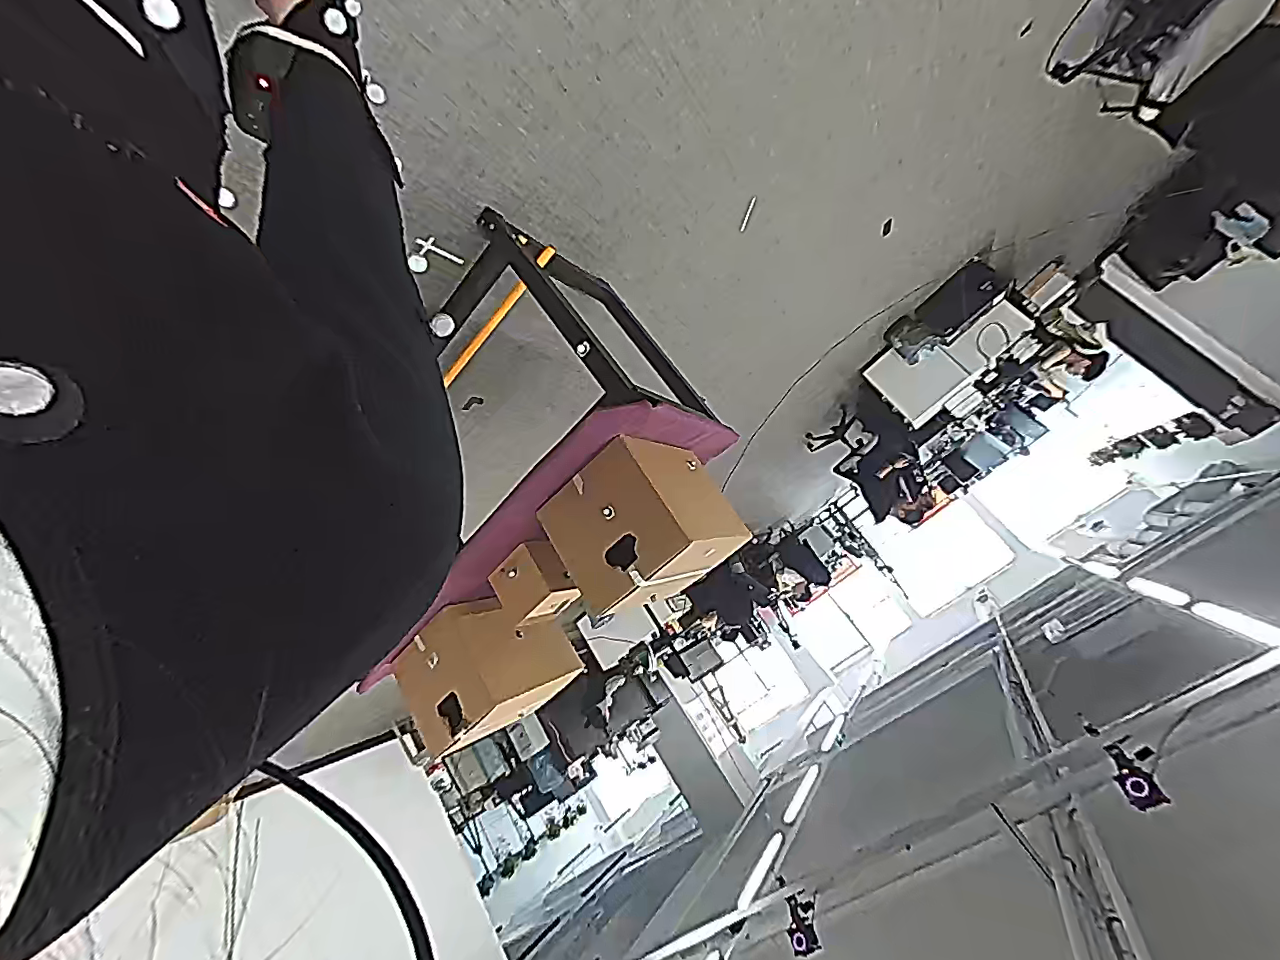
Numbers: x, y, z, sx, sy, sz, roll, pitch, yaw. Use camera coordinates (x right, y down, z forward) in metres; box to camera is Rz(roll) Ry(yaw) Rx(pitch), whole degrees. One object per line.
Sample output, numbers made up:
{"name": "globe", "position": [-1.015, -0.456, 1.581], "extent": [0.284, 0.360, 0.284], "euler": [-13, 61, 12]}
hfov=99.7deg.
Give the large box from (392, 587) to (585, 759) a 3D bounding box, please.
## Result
{"name": "large box", "position": [-0.456, 0.563, 1.651], "extent": [0.320, 0.320, 0.408], "euler": [-43, 159, 21]}
